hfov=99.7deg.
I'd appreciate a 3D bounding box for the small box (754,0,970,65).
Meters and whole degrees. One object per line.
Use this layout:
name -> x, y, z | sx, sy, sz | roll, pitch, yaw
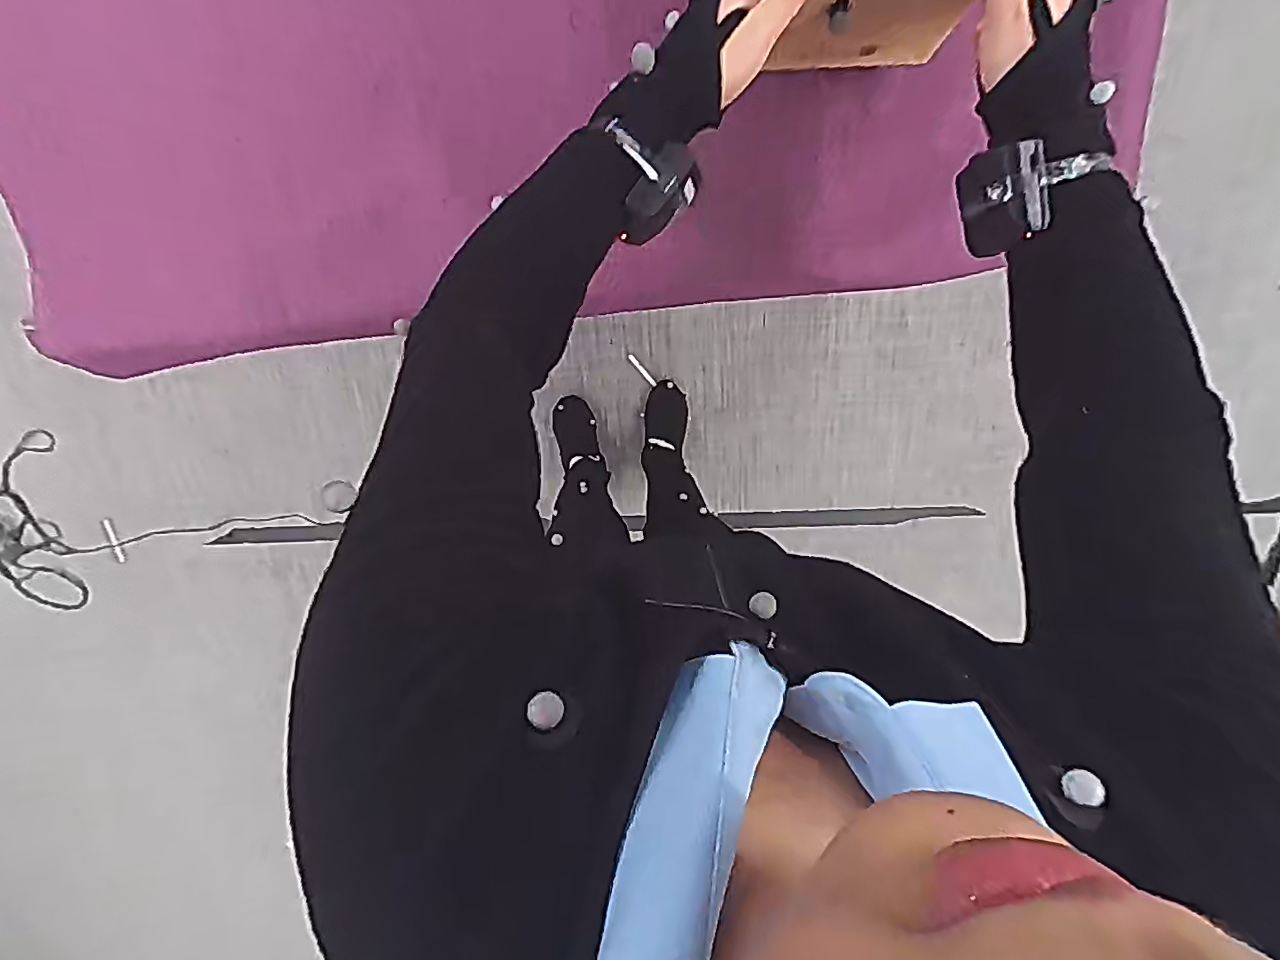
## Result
small box -> 0.182, -0.454, 0.416 | 0.168, 0.176, 0.179 | 1, 102, 4
